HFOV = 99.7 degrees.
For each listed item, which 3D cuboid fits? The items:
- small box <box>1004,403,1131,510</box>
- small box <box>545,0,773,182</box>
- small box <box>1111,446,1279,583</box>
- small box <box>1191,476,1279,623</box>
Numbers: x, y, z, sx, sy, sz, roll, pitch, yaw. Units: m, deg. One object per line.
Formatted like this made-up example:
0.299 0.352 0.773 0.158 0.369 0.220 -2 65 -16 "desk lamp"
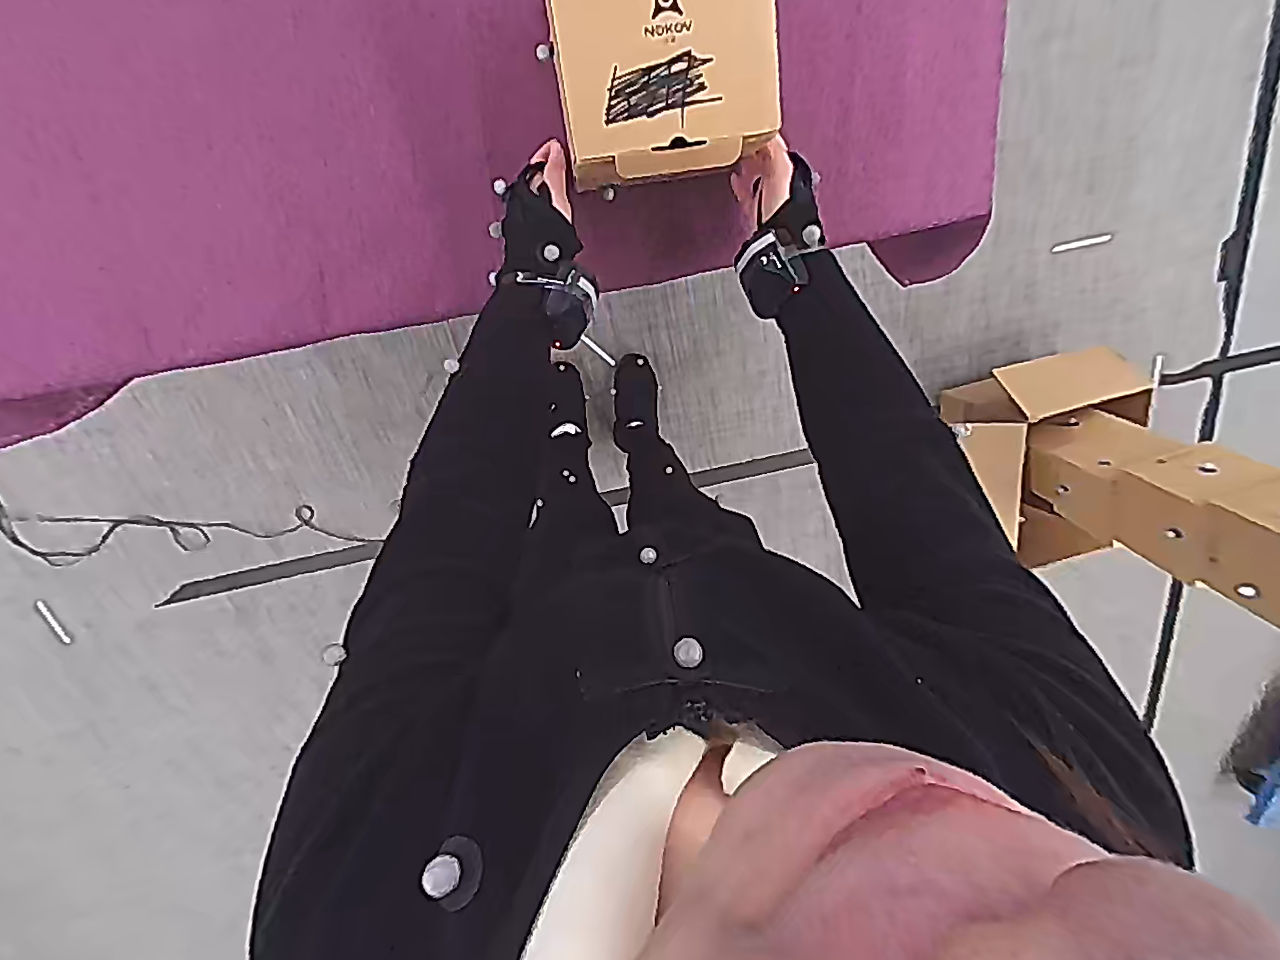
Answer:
1.017 -0.066 1.296 0.168 0.176 0.179 -31 114 10 "small box"
0.008 -0.370 0.466 0.168 0.176 0.179 -9 111 -3 "small box"
1.013 0.052 0.988 0.168 0.176 0.179 -18 116 5 "small box"
1.020 0.106 0.833 0.179 0.176 0.168 -17 116 4 "small box"
